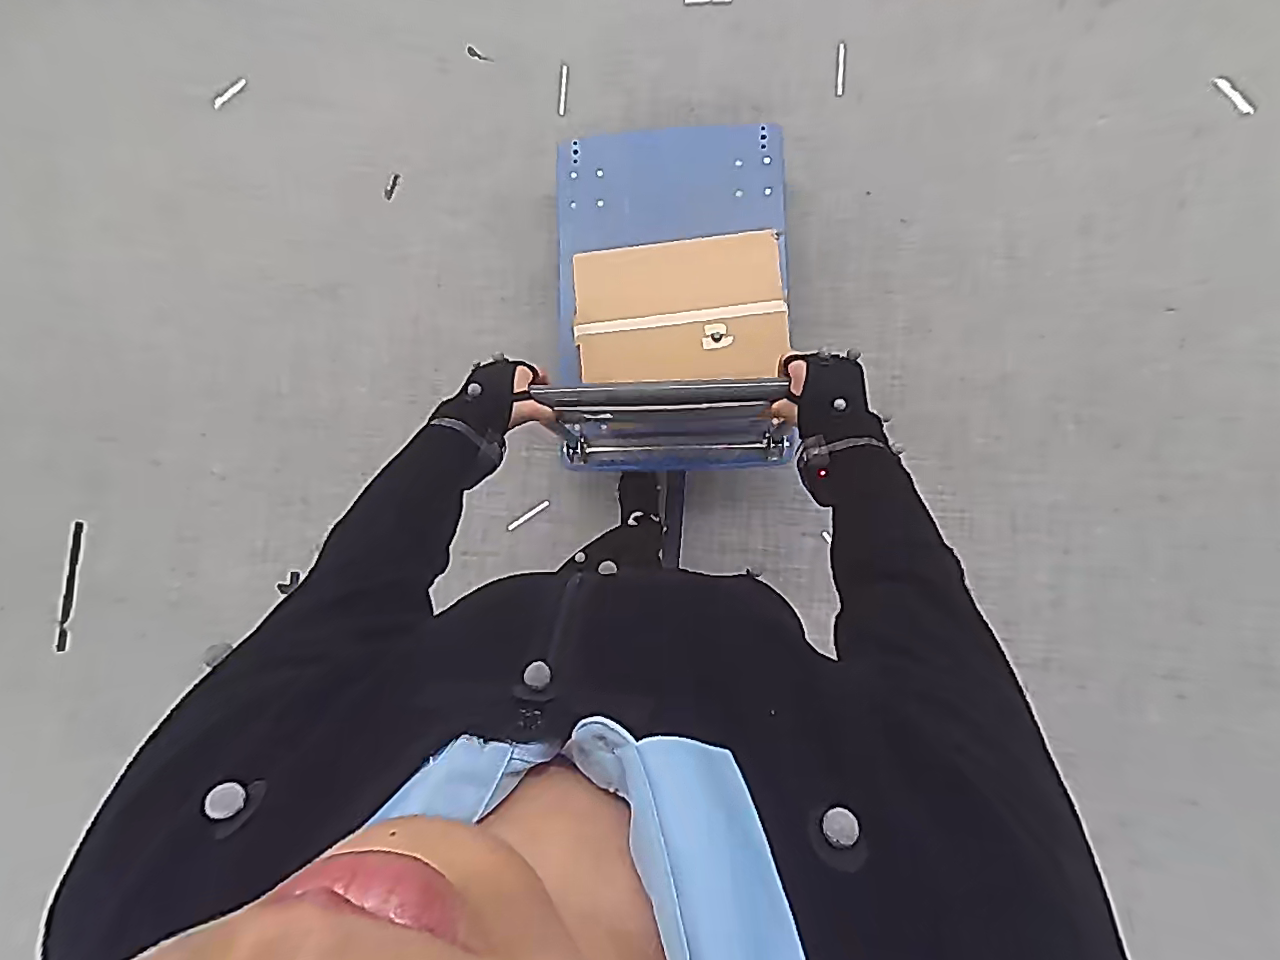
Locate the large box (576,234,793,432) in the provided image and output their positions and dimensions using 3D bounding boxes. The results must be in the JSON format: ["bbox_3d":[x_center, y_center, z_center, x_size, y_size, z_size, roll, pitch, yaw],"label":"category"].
[{"bbox_3d":[0.092,-0.300,1.207,0.408,0.320,0.320,-5,87,4],"label":"large box"}]
